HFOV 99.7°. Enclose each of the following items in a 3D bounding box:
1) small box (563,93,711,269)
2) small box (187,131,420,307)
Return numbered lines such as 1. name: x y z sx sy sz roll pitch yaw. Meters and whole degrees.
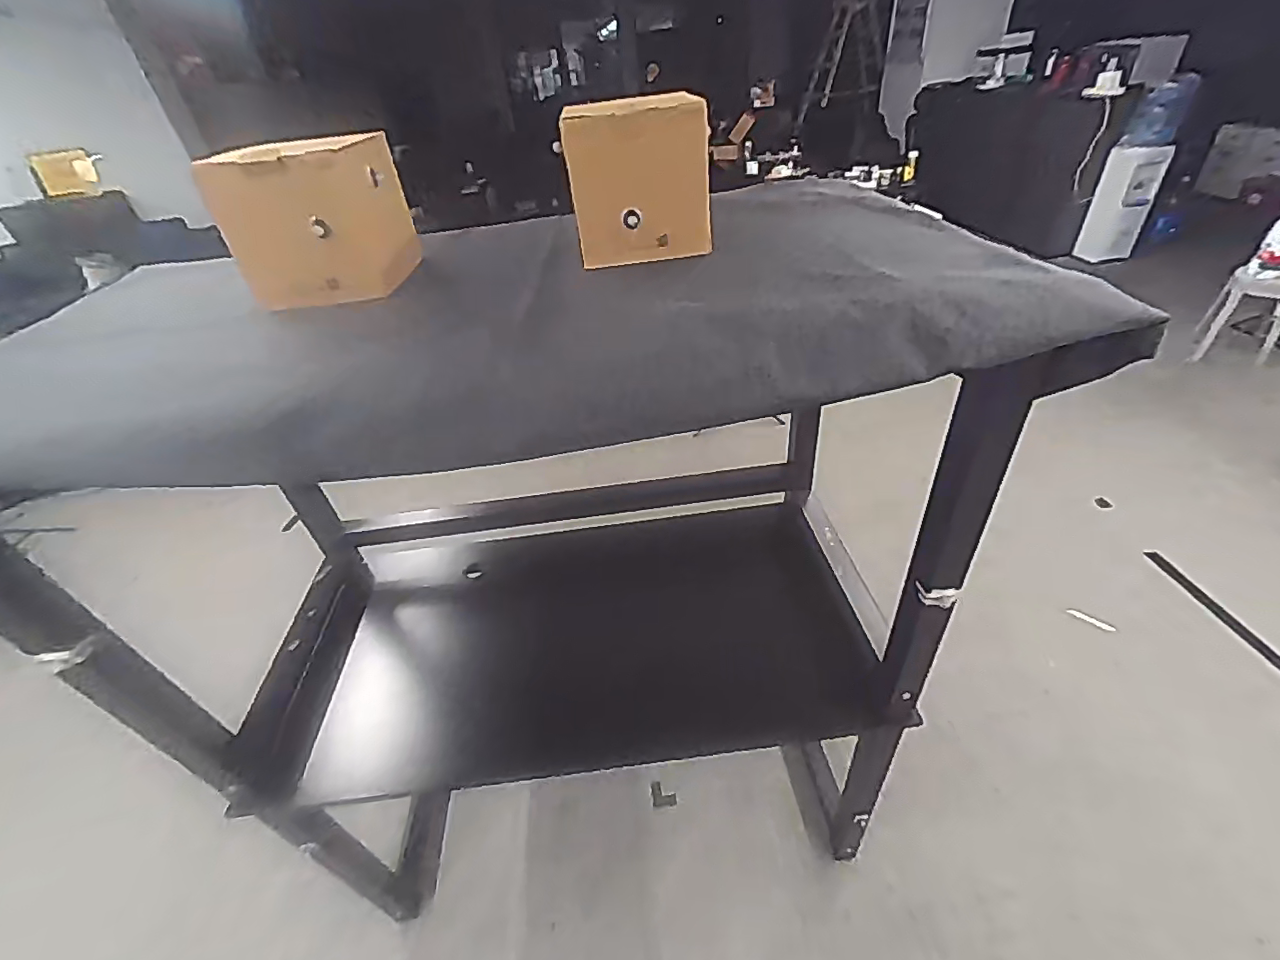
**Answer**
1. small box: -0.003 -0.390 0.704 0.168 0.176 0.179 -8 39 0
2. small box: -0.405 -0.331 0.695 0.168 0.176 0.179 -5 39 1
